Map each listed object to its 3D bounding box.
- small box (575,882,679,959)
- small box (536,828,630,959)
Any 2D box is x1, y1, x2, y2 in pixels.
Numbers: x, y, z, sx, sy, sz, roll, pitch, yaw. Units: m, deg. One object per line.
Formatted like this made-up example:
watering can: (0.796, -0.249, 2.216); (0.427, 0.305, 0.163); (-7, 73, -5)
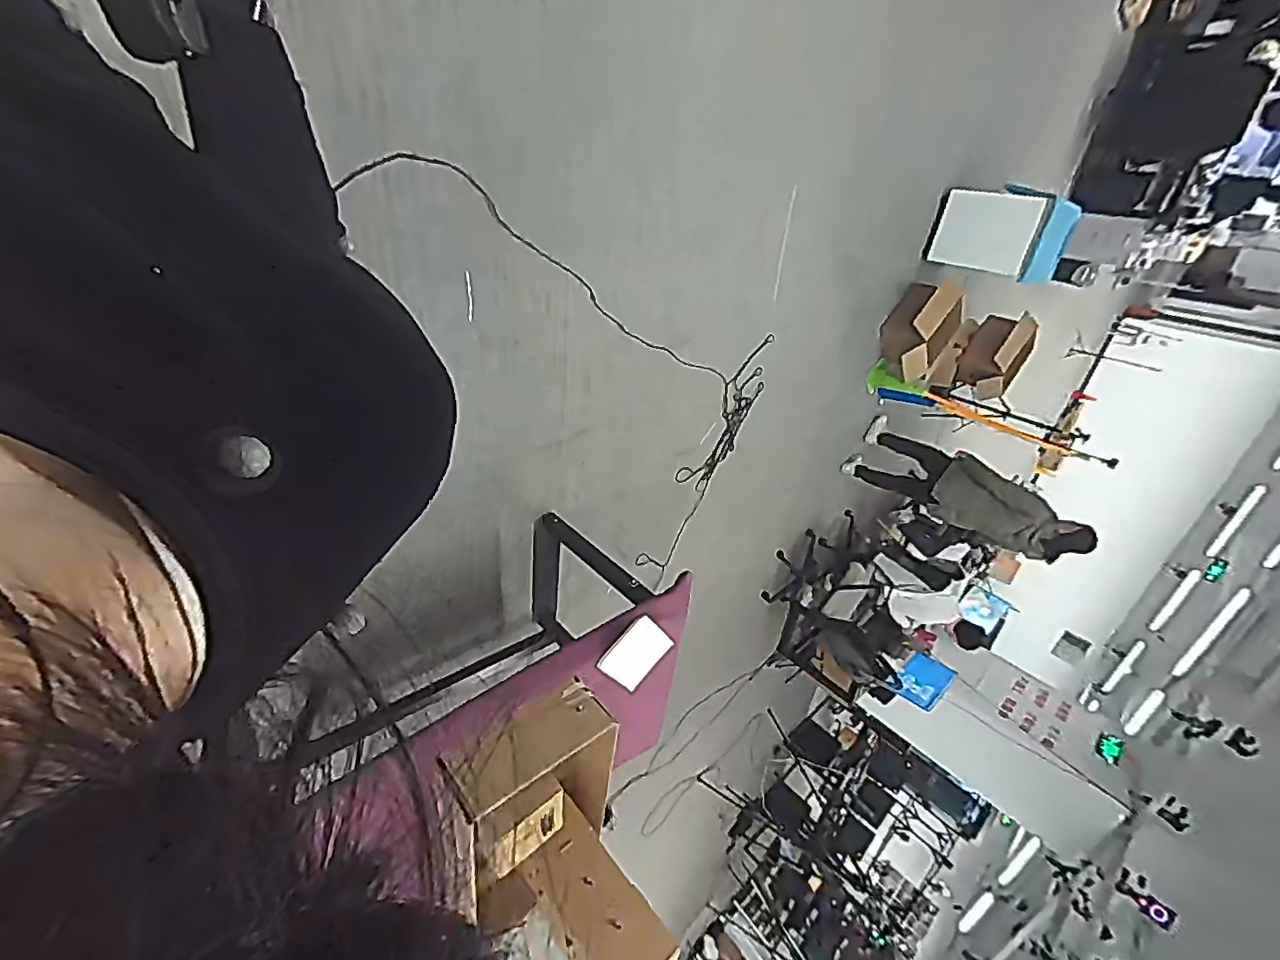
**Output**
small box: (-0.037, 1.110, 1.268); (0.179, 0.176, 0.168); (-18, 127, -39)
small box: (-0.149, 1.040, 1.366); (0.179, 0.176, 0.168); (-21, 129, -39)
